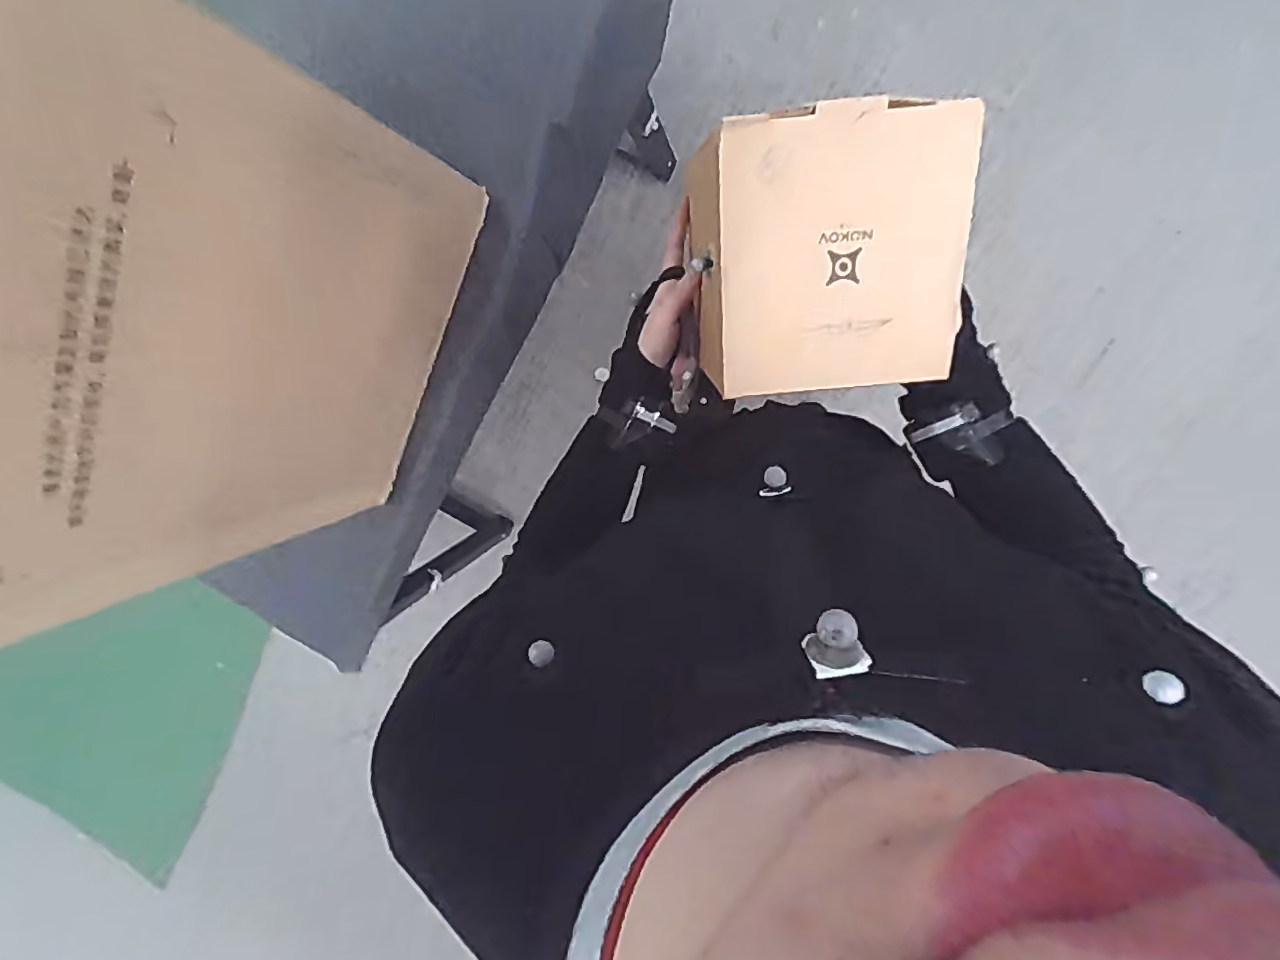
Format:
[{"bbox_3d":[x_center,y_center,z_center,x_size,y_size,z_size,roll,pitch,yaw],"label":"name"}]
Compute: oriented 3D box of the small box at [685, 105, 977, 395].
[{"bbox_3d":[0.128,-0.178,0.437,0.168,0.176,0.179,-4,114,-1],"label":"small box"}]
